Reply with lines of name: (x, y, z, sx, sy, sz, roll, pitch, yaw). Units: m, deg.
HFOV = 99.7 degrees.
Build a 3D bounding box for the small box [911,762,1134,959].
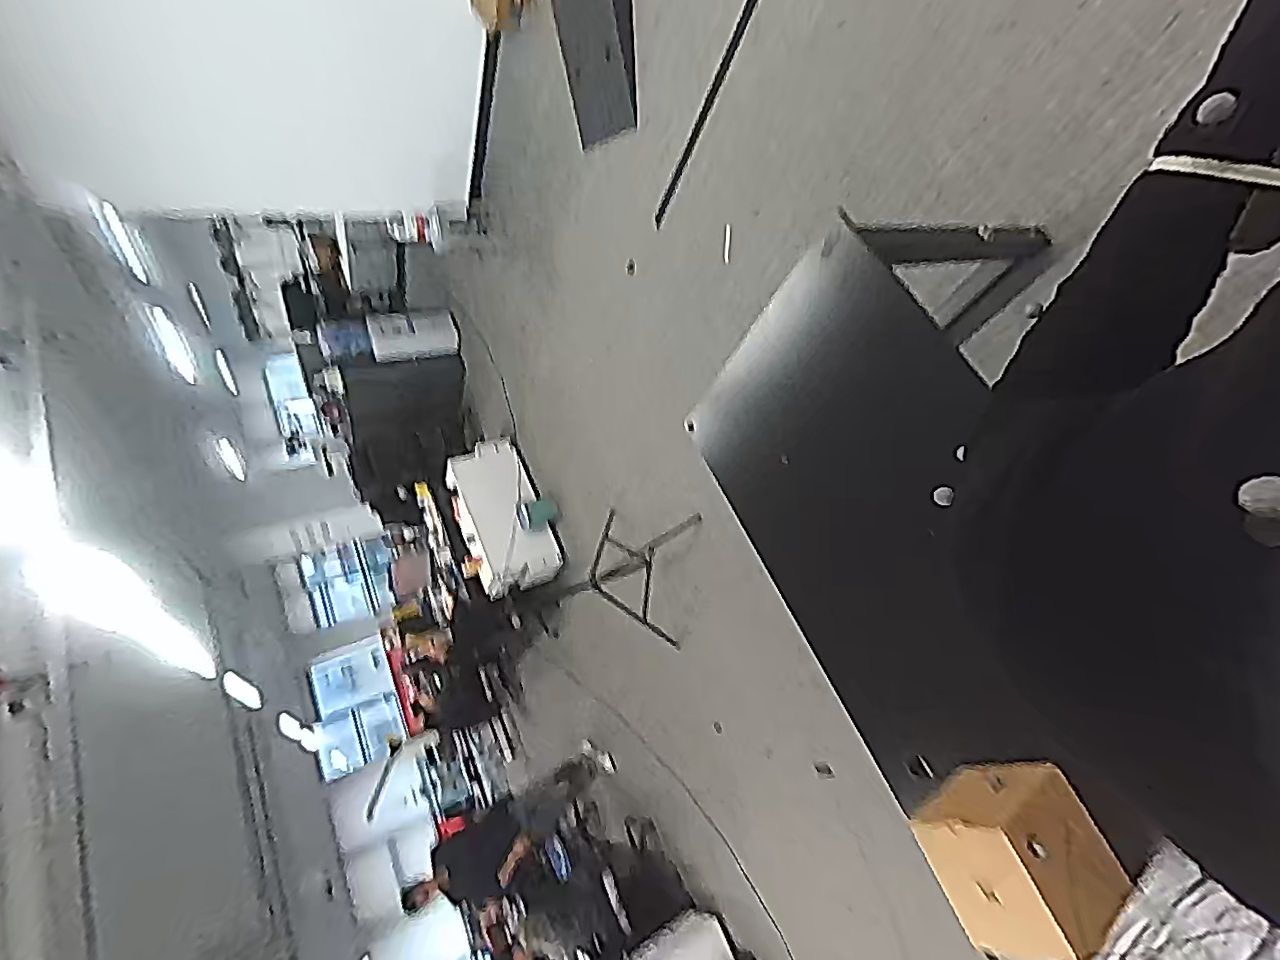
small box: (0.548, 0.537, 0.781, 0.179, 0.176, 0.168, 64, 148, 18)
